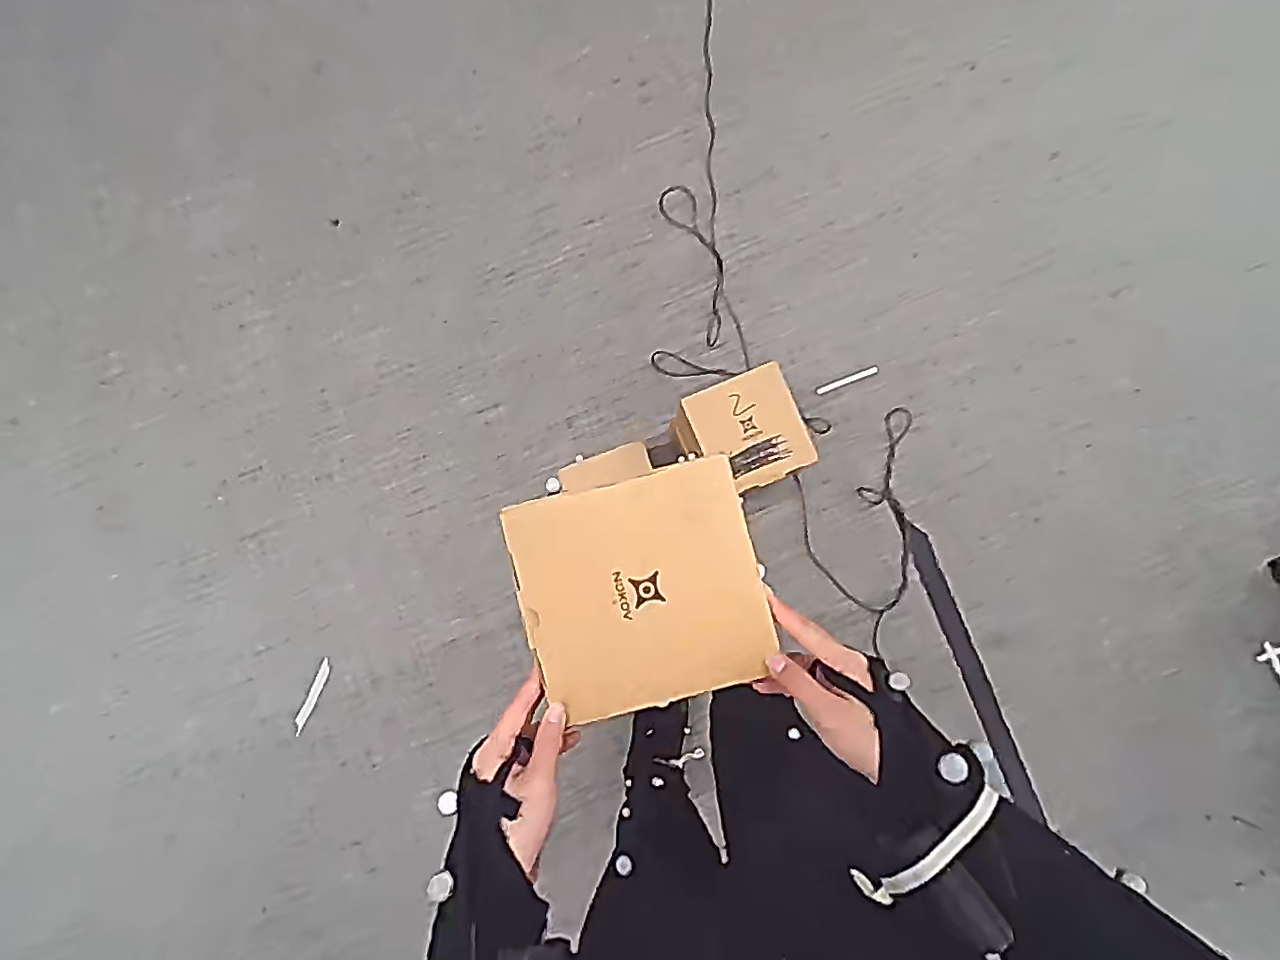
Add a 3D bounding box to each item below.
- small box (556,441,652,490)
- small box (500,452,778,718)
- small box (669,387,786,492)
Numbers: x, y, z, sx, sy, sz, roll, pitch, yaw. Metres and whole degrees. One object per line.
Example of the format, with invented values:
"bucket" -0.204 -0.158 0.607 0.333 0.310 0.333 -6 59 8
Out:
"small box" -0.049 0.035 1.080 0.179 0.176 0.168 -18 86 1
"small box" 0.000 0.077 0.477 0.179 0.176 0.168 -15 89 2
"small box" 0.164 -0.061 1.086 0.168 0.176 0.179 -23 87 -1
